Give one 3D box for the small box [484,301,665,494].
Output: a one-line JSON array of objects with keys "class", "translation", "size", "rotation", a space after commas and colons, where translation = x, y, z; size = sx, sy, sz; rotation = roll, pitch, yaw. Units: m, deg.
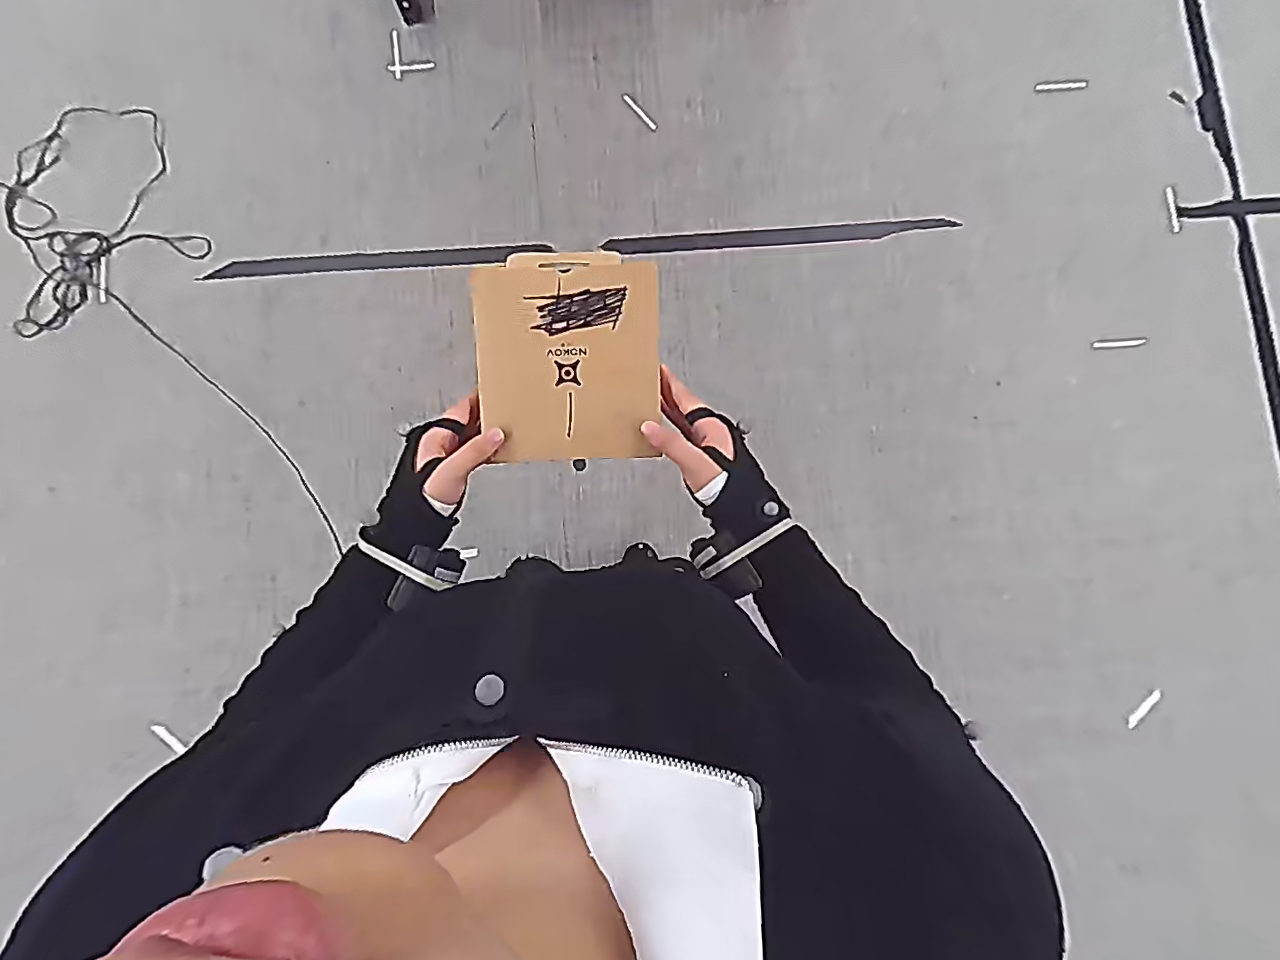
[{"class": "small box", "translation": [-0.061, -0.081, 0.578], "size": [0.168, 0.176, 0.179], "rotation": [-2, 95, -1]}]
